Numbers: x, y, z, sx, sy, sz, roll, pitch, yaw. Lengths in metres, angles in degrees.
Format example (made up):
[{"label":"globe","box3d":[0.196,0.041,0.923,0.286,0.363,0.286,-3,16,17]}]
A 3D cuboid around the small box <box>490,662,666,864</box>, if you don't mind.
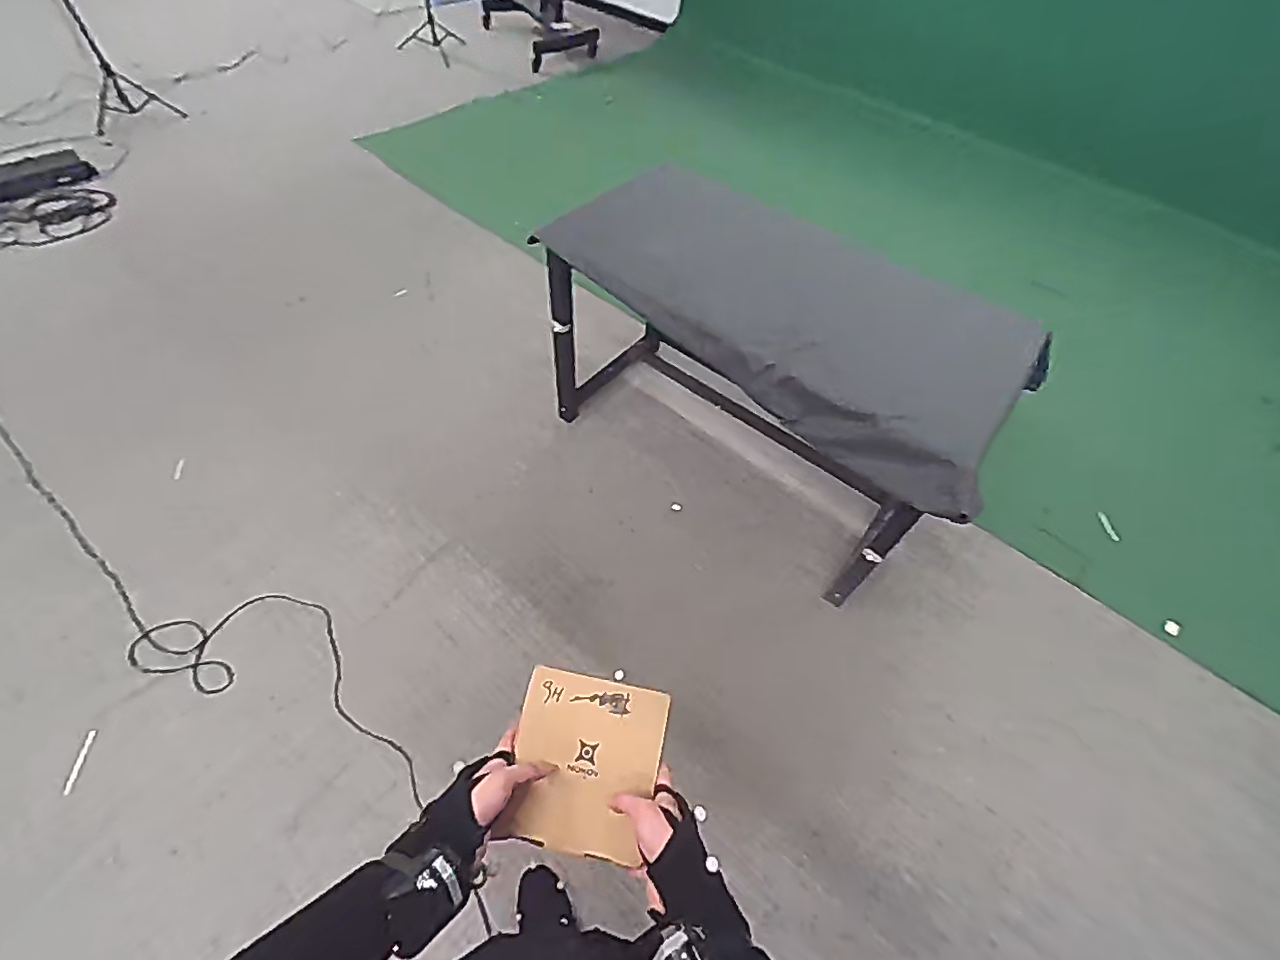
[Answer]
[{"label":"small box","box3d":[-0.065,0.330,0.666,0.168,0.176,0.179,10,71,3]}]
